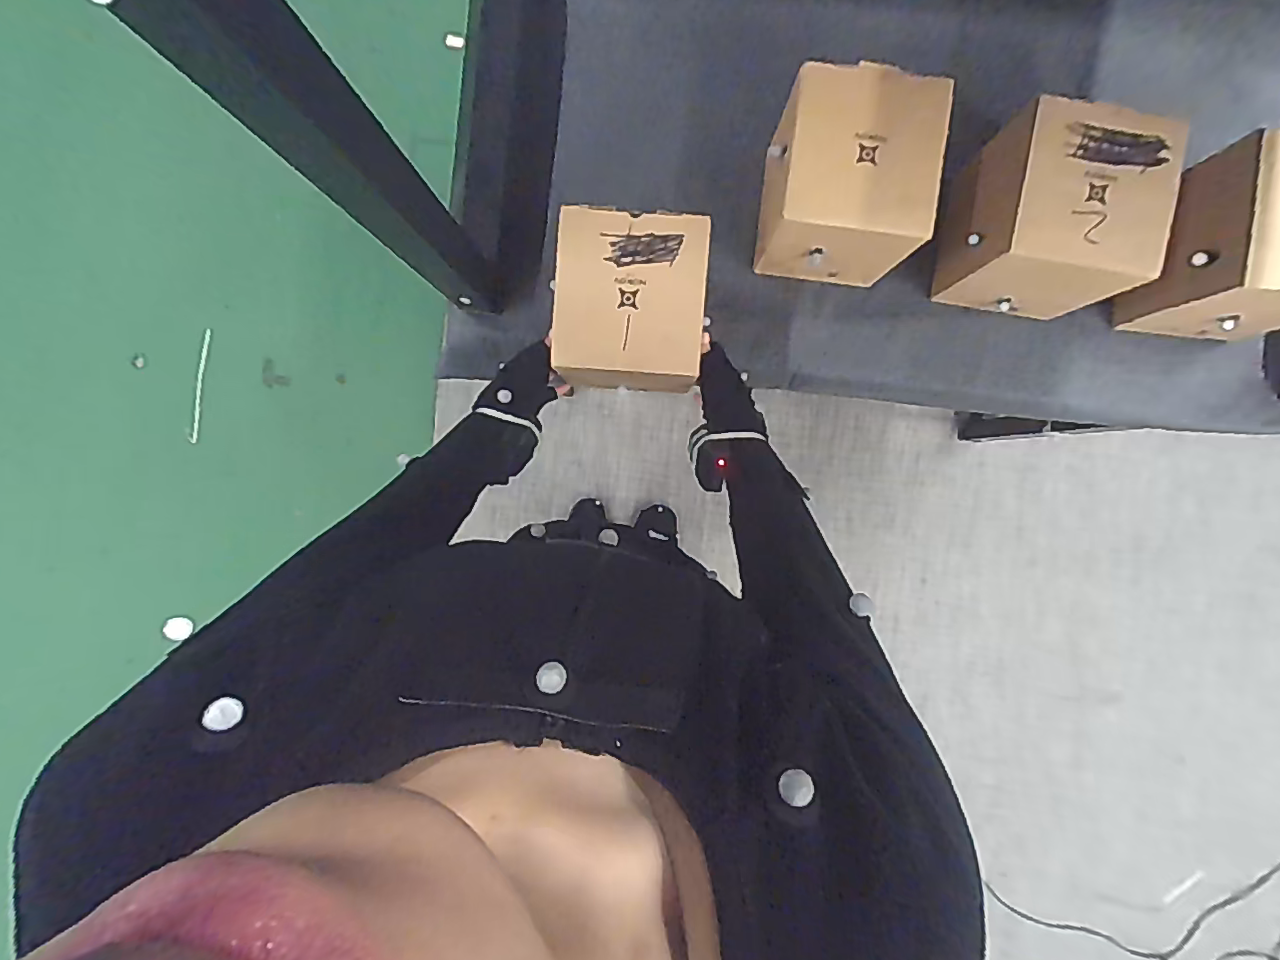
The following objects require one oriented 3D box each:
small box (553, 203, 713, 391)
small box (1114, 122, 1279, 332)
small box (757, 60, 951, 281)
[{"bbox_3d":[-0.009,-0.212,0.671,0.168,0.176,0.179,4,93,0],"label":"small box"},{"bbox_3d":[0.735,-0.291,0.661,0.168,0.176,0.179,6,90,0],"label":"small box"},{"bbox_3d":[0.247,-0.364,0.669,0.168,0.176,0.179,7,91,0],"label":"small box"}]
